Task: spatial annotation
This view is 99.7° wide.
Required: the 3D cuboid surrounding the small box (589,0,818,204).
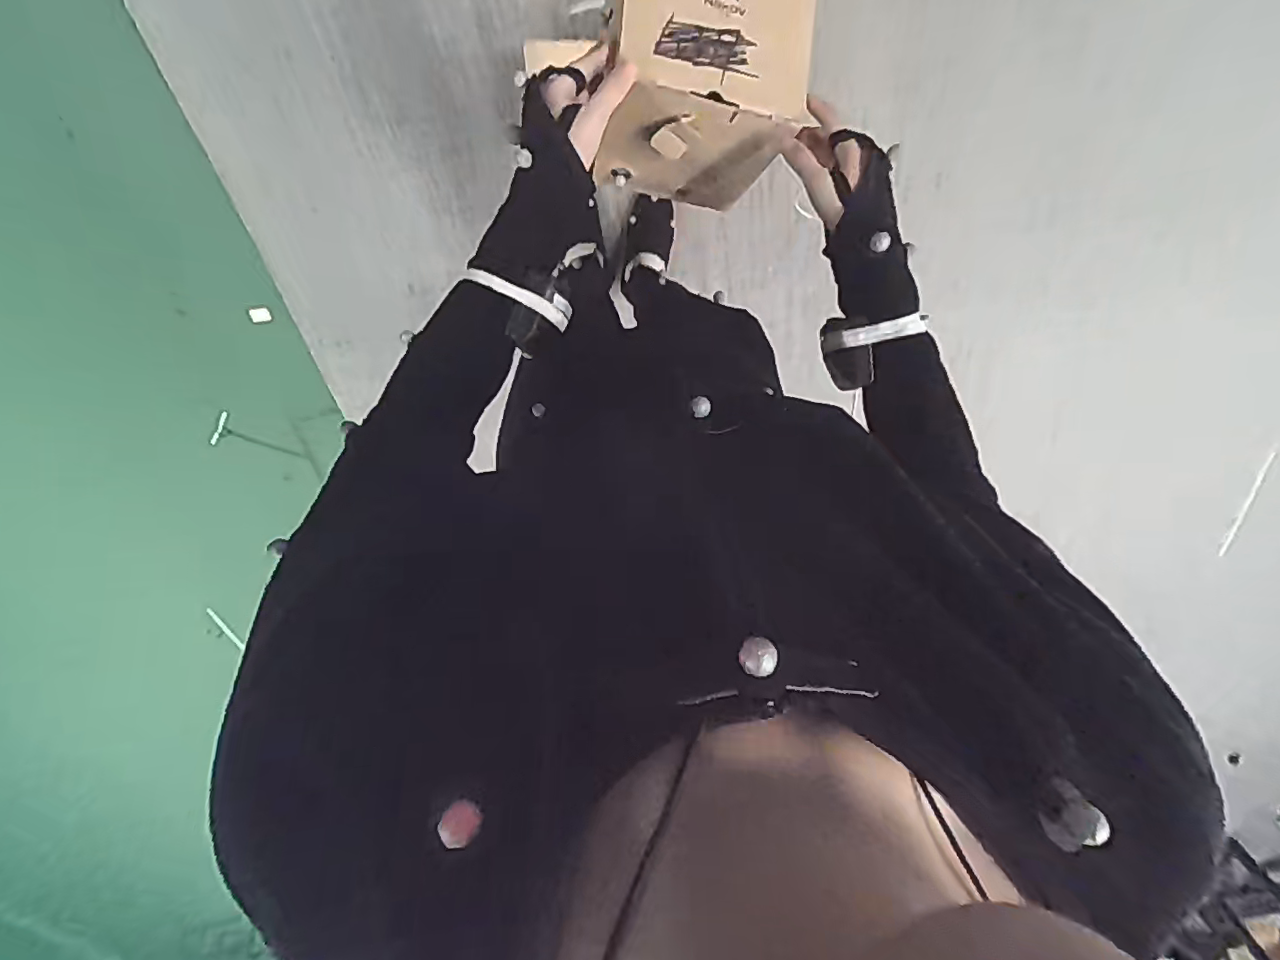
[{"bbox_3d":[0.049,-0.392,0.509,0.168,0.176,0.179,6,91,-14],"label":"small box"}]
